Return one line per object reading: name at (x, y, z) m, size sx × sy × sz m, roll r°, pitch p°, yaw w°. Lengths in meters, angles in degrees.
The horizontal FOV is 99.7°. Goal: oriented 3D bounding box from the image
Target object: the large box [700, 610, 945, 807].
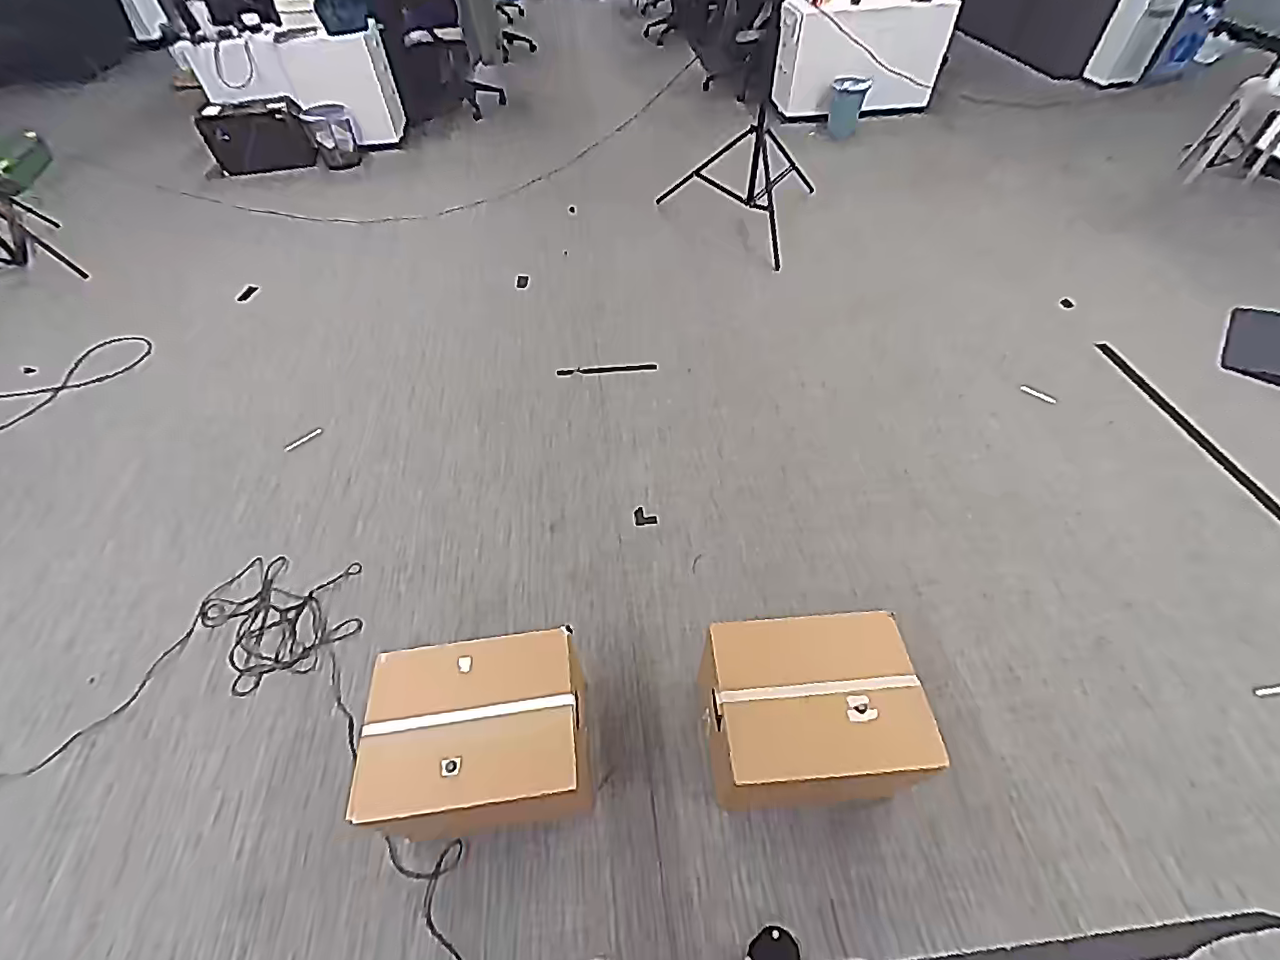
large box at (0.364, 0.514, 1.207) m, size 0.408 × 0.320 × 0.320 m, roll -3°, pitch 52°, yaw -2°
